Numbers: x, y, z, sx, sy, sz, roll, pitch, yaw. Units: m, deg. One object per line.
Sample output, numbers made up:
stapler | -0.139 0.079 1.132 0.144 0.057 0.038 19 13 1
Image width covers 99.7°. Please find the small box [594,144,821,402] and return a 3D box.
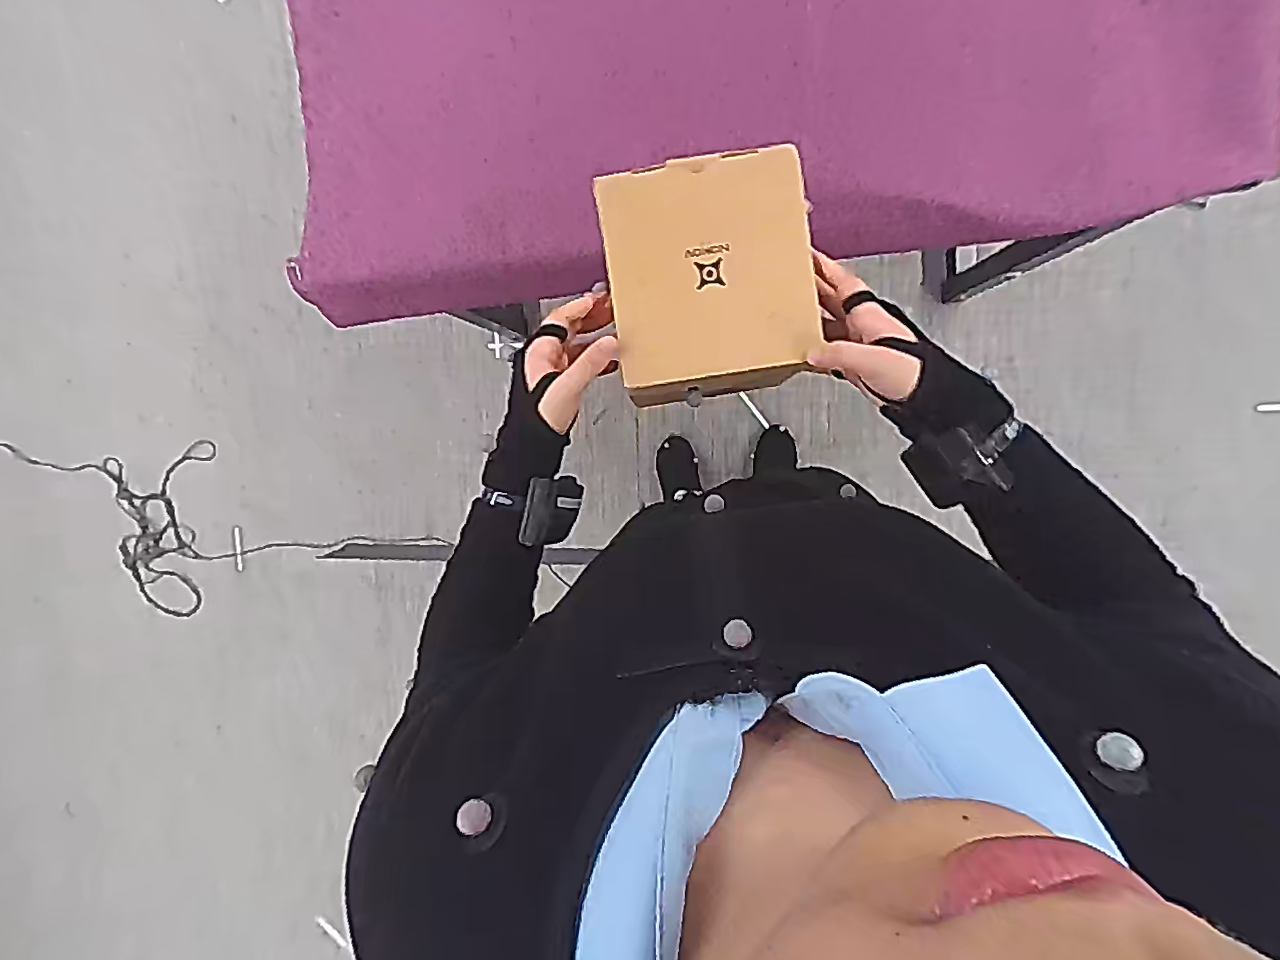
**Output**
small box | 0.060 -0.175 0.519 0.168 0.176 0.179 -9 90 3
